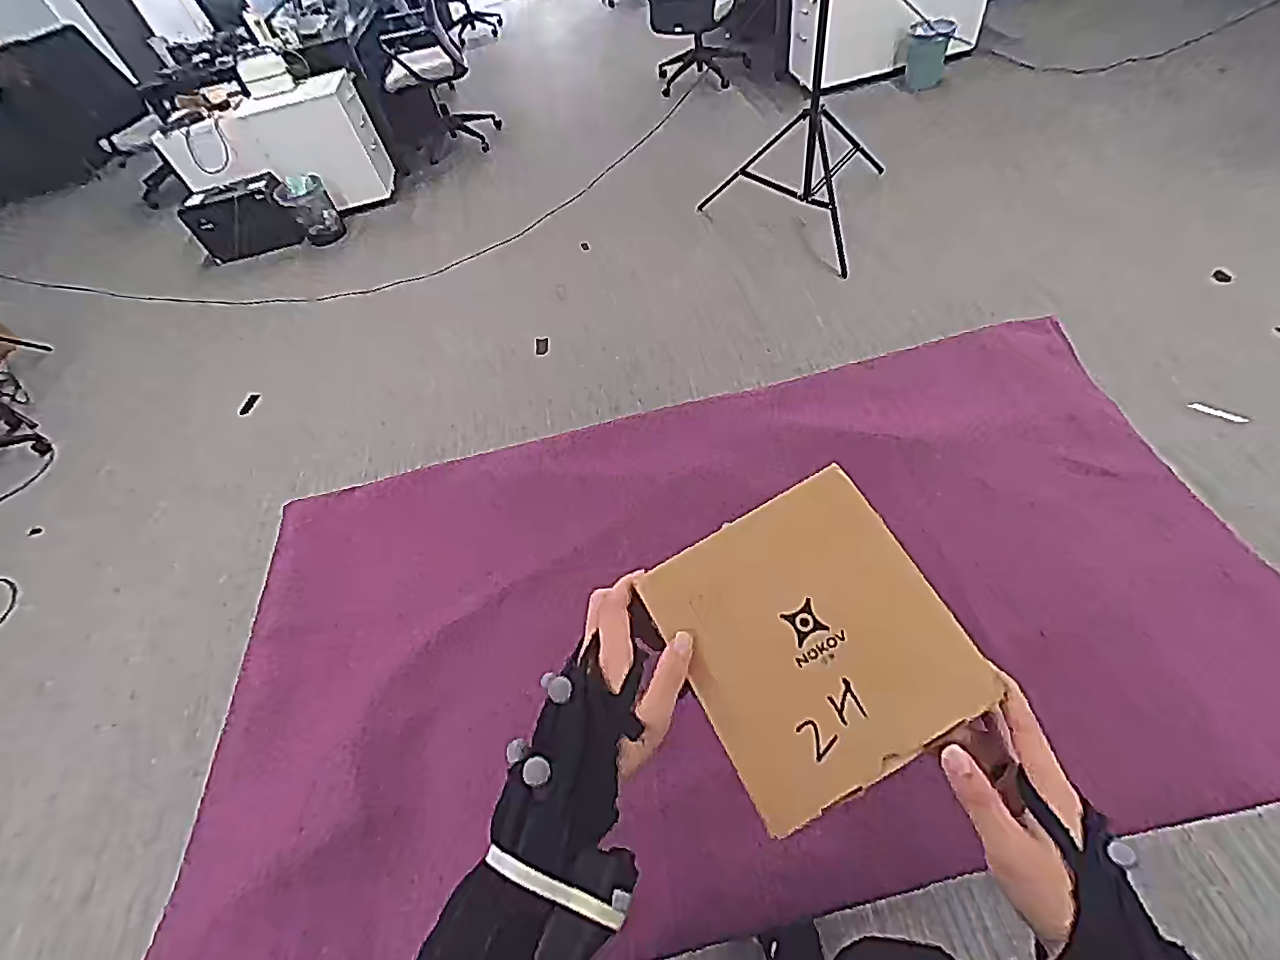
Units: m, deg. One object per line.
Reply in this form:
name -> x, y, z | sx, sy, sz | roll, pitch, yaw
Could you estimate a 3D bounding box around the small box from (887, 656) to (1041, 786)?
small box -> 0.589, 0.457, 1.010 | 0.168, 0.176, 0.179 | -14, 51, 2
